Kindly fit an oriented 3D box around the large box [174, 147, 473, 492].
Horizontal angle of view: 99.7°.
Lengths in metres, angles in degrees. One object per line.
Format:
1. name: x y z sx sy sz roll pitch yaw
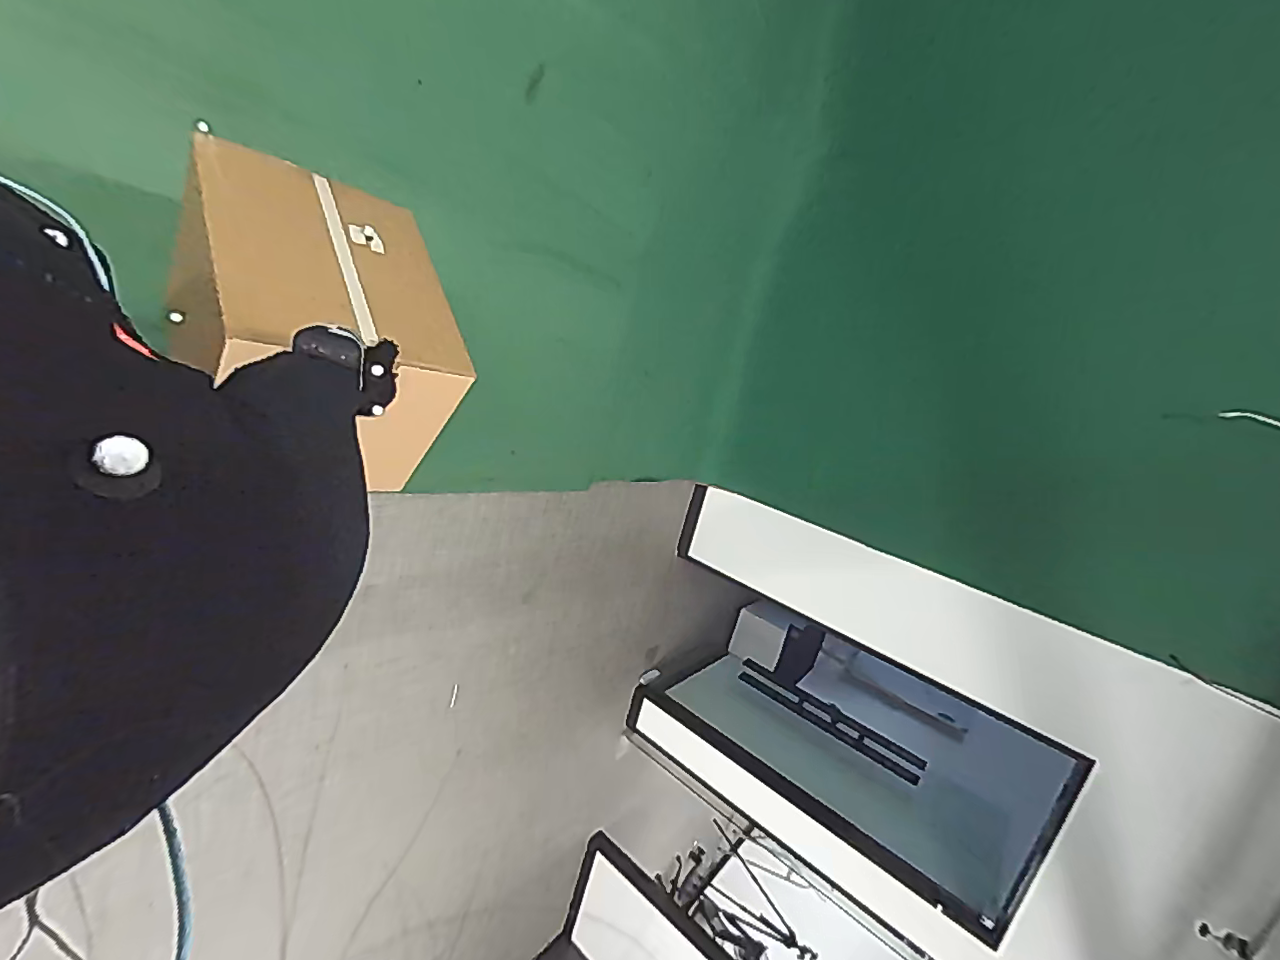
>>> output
1. large box: -0.533 -0.228 0.887 0.320 0.408 0.320 1 144 -48
